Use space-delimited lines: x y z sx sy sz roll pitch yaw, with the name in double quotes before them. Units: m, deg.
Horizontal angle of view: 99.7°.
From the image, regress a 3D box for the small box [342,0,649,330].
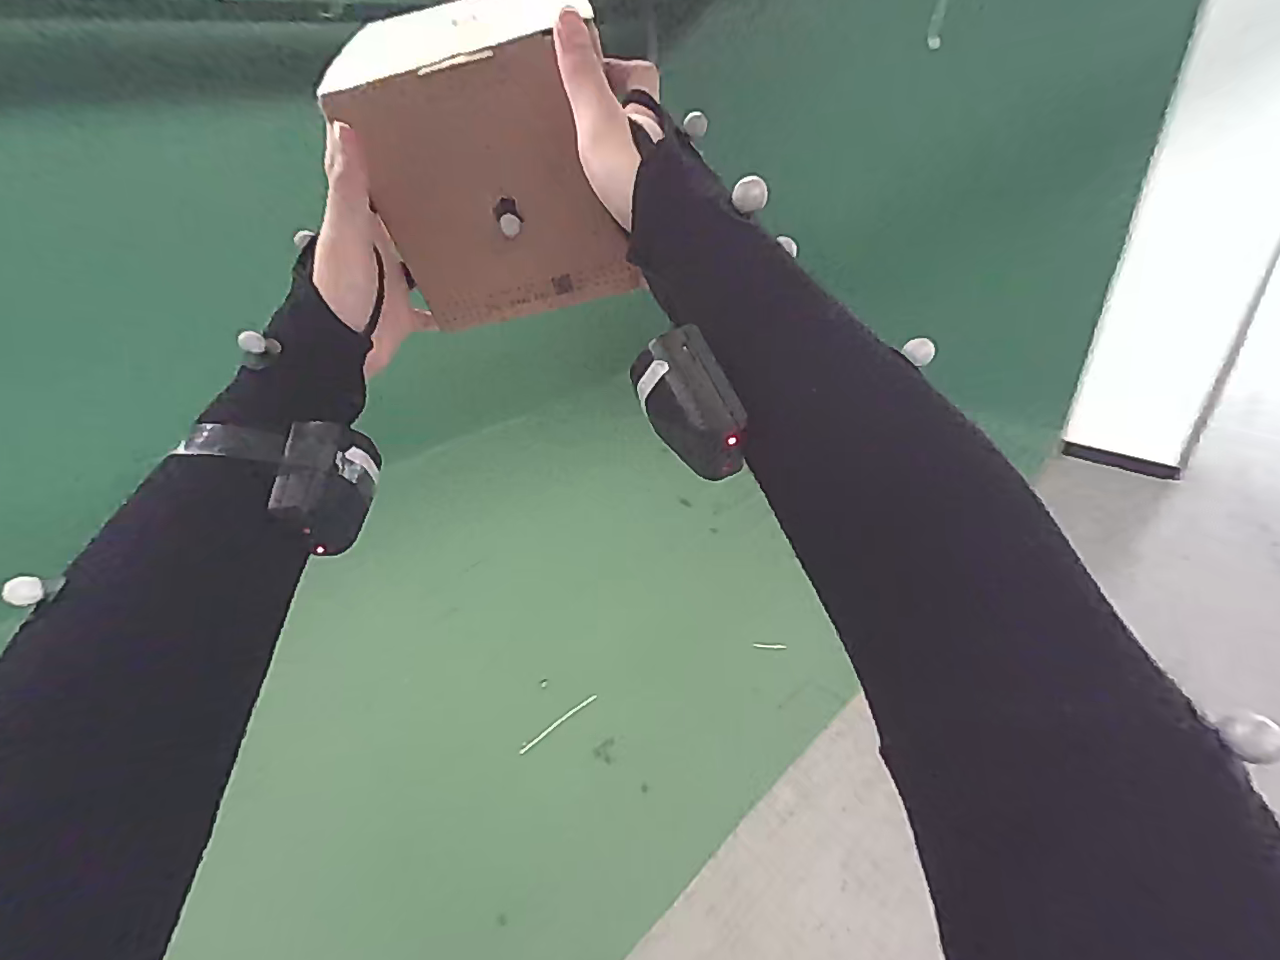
"small box" -0.094 -0.238 0.427 0.168 0.176 0.179 -13 51 3
